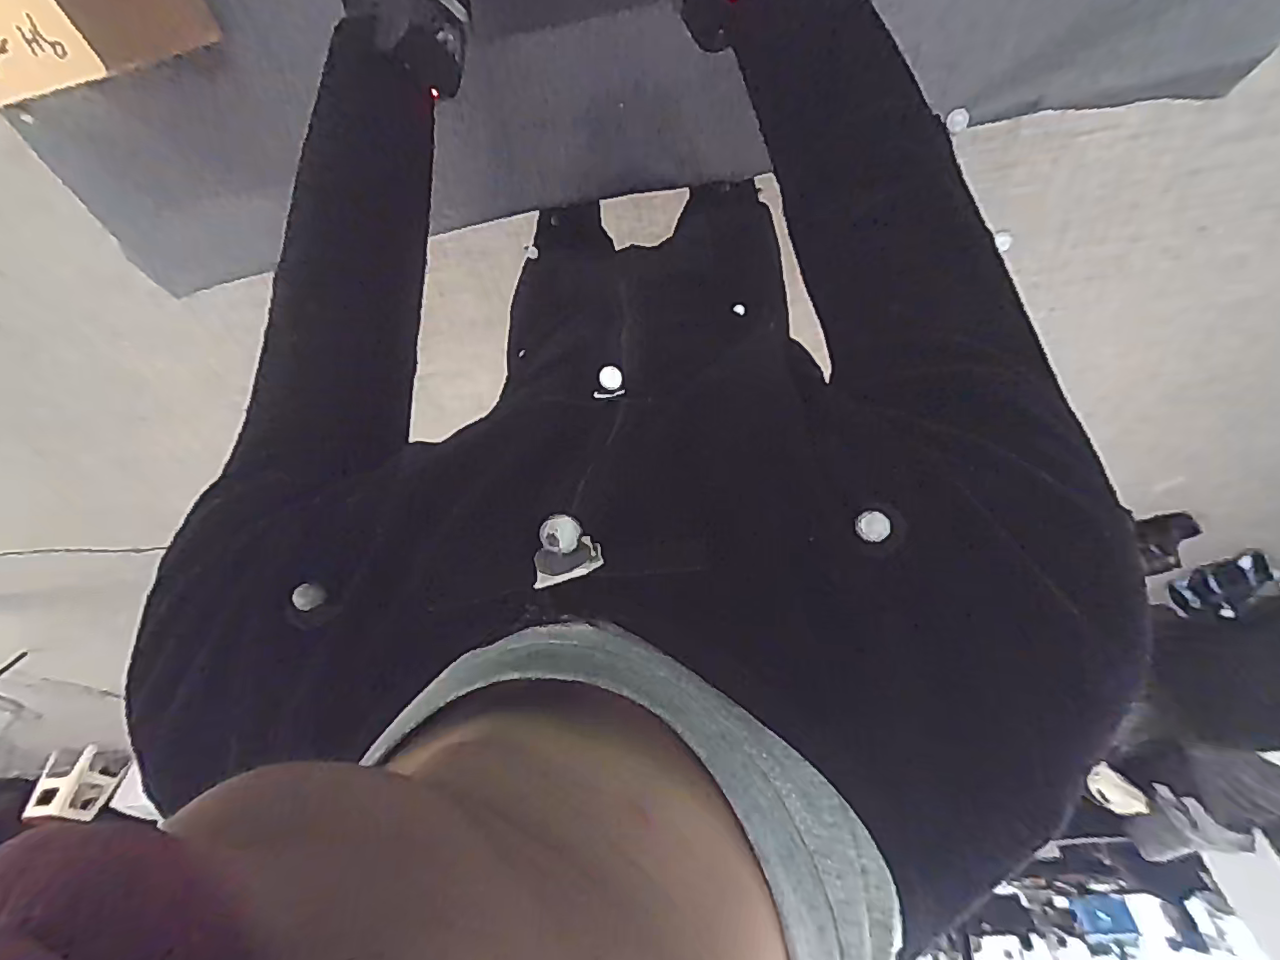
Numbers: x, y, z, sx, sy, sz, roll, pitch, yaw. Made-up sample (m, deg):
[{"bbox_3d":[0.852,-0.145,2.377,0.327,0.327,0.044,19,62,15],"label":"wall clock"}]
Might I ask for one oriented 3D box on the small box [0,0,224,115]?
[{"bbox_3d":[-0.463,-0.384,0.384,0.168,0.176,0.179,-8,137,8],"label":"small box"}]
